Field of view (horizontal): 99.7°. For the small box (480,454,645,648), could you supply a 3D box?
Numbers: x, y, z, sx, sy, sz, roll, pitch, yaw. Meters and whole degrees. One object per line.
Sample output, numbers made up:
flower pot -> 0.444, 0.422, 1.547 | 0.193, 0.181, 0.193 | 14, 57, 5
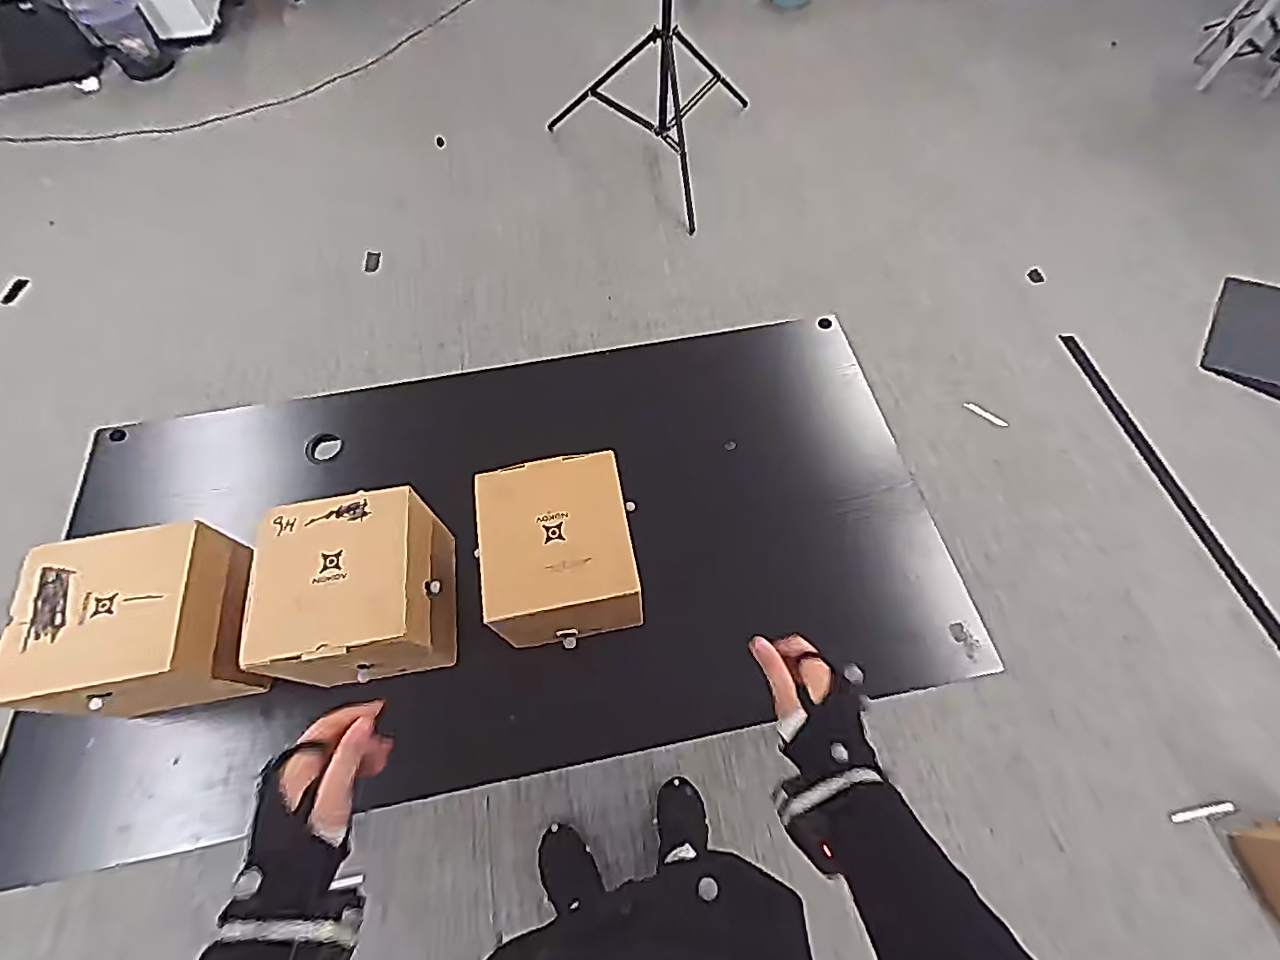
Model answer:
small box -> -0.090, 0.094, 0.670 | 0.168, 0.176, 0.179 | -11, 65, -4

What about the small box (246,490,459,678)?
small box -> -0.324, 0.133, 0.649 | 0.168, 0.176, 0.179 | -9, 64, -4

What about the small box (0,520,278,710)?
small box -> -0.554, 0.165, 0.634 | 0.179, 0.176, 0.168 | -9, 64, -5

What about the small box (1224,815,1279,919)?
small box -> 1.398, 0.813, 1.110 | 0.168, 0.176, 0.179 | -11, 64, -5
